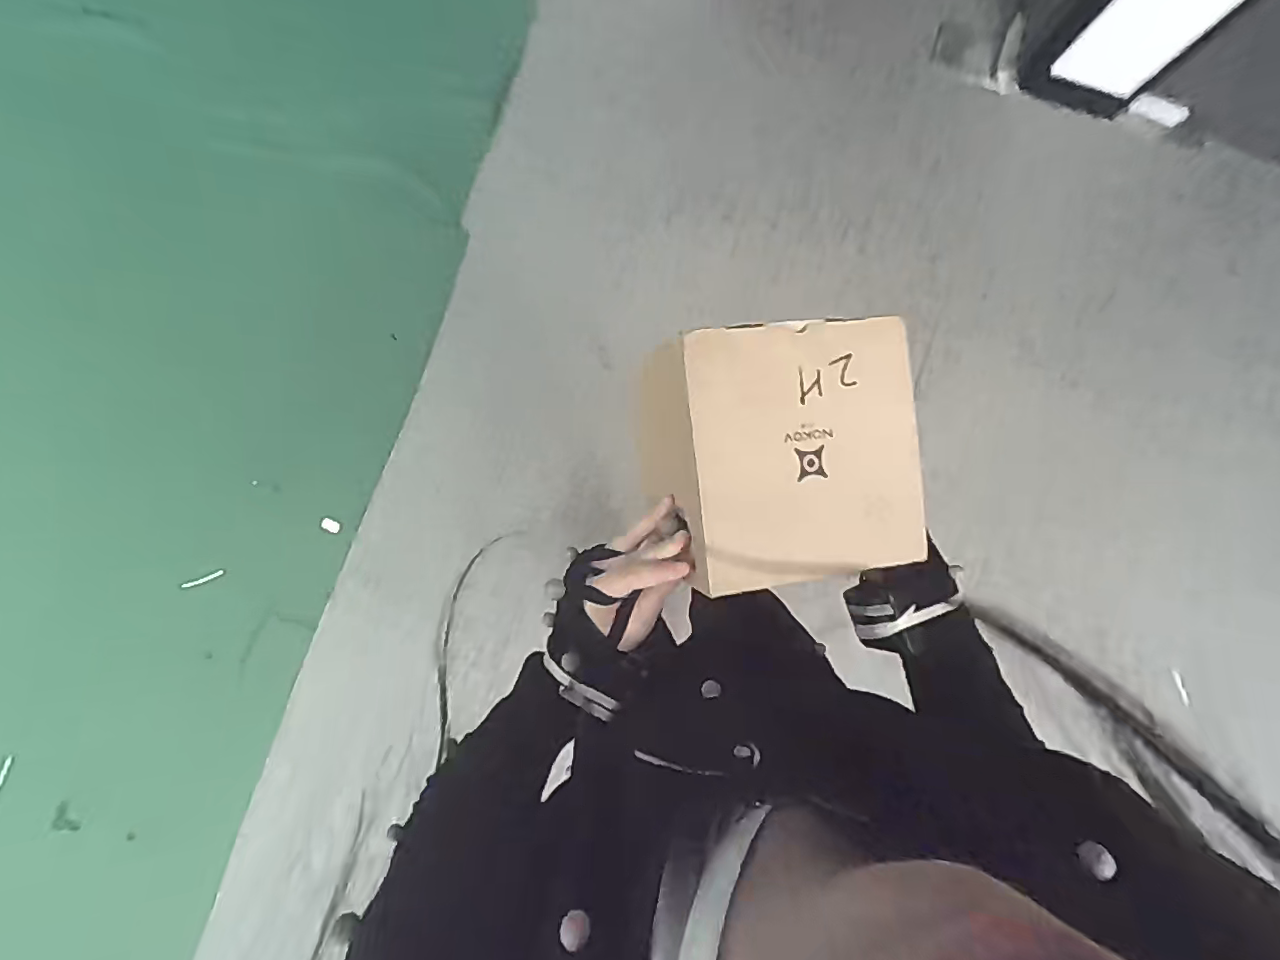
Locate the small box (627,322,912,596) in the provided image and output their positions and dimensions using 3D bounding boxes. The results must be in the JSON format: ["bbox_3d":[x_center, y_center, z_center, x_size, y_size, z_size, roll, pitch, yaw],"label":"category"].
[{"bbox_3d":[0.090,-0.018,0.446,0.168,0.176,0.179,-7,91,-13],"label":"small box"}]
